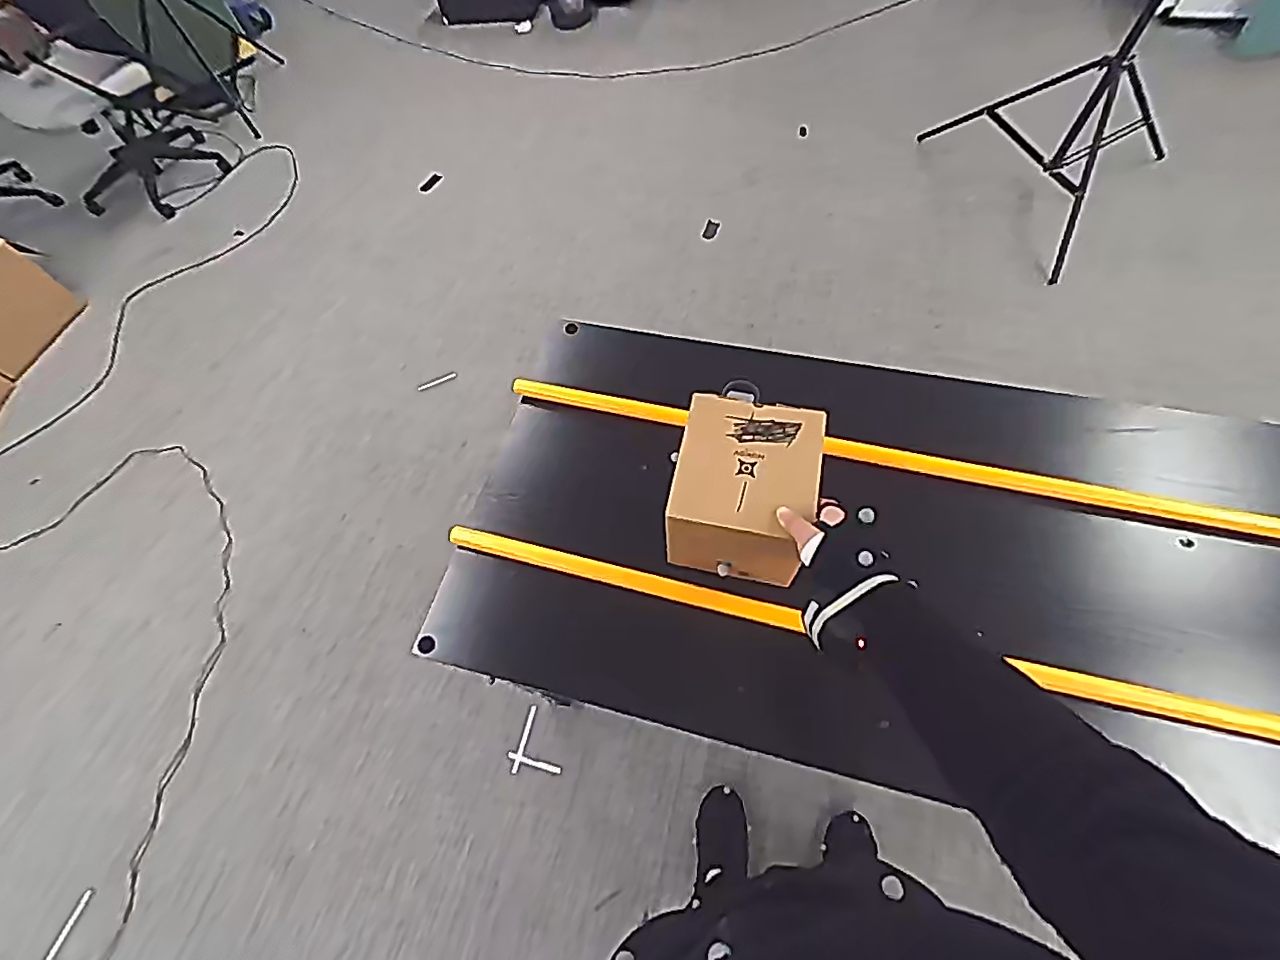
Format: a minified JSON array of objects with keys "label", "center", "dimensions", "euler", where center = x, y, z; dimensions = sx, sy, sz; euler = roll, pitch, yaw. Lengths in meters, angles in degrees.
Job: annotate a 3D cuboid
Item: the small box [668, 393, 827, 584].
[{"label":"small box","center":[0.135,0.015,0.705],"dimensions":[0.168,0.176,0.179],"euler":[10,64,11]}]
